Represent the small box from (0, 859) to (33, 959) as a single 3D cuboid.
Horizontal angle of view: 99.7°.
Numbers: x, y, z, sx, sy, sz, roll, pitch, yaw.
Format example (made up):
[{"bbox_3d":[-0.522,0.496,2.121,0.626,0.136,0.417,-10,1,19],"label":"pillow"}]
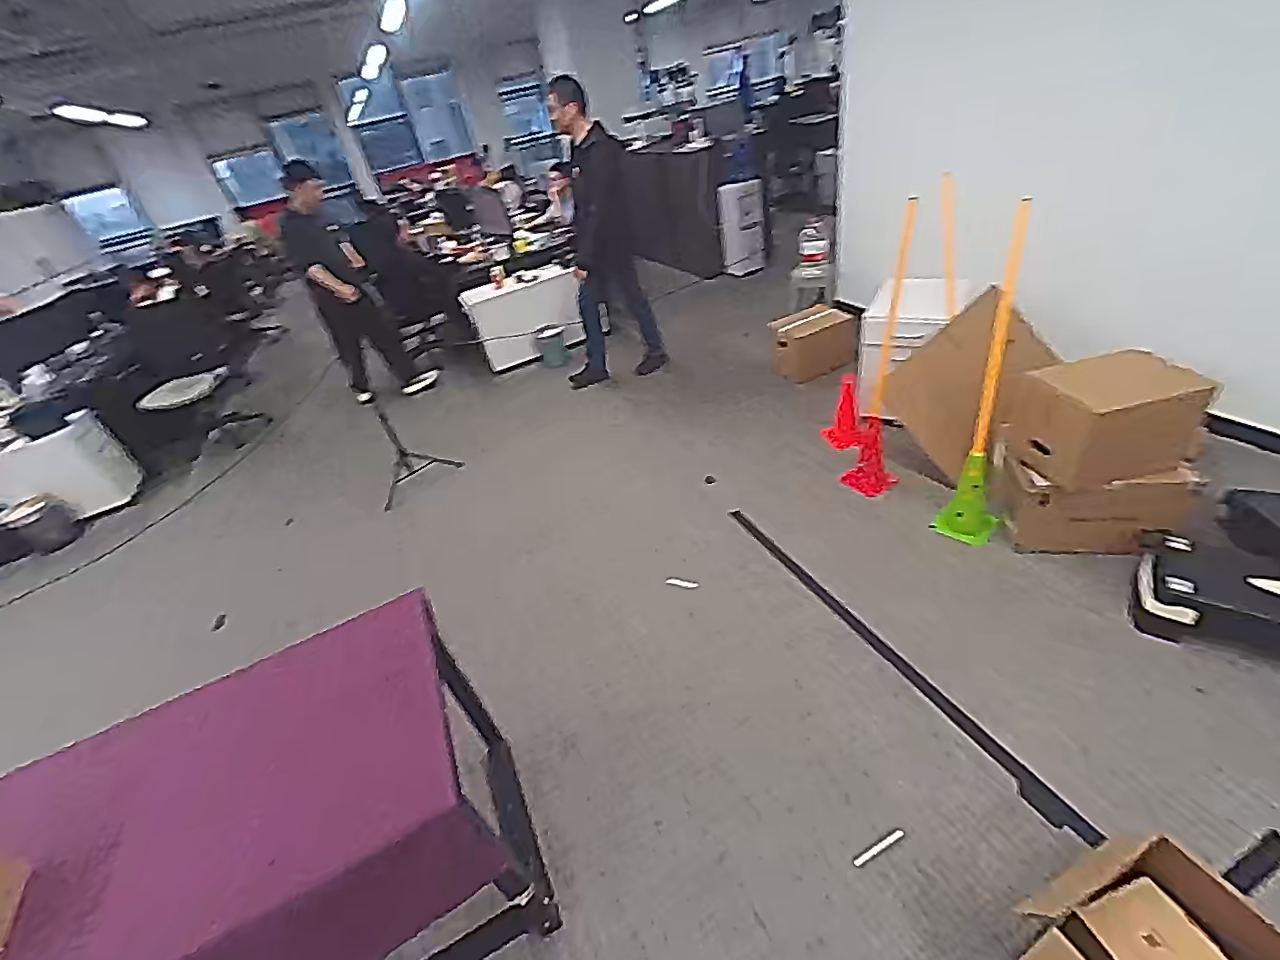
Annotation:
[{"bbox_3d":[-1.147,0.730,0.859,0.168,0.176,0.179,-27,39,-17],"label":"small box"}]
